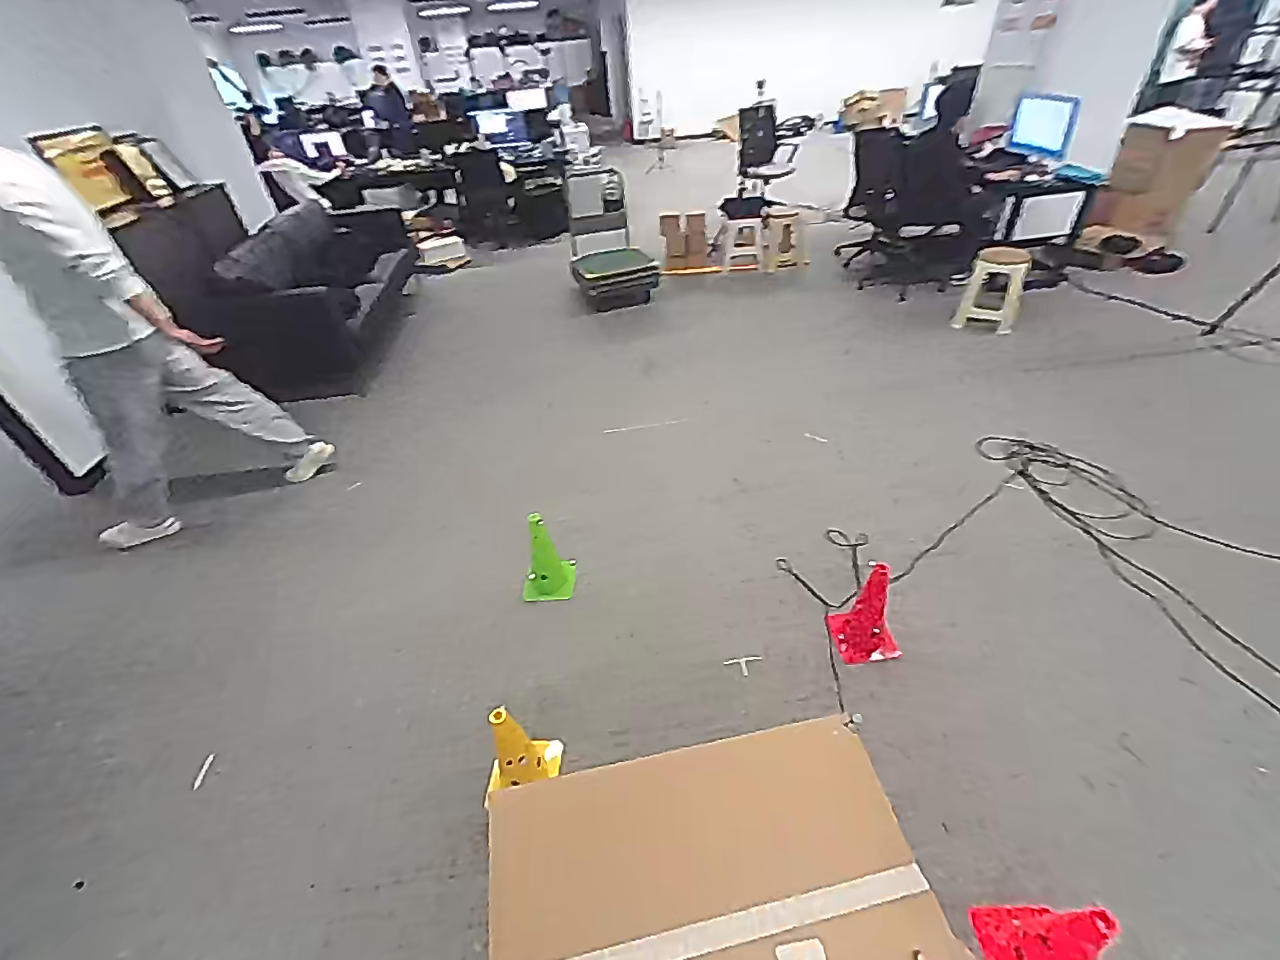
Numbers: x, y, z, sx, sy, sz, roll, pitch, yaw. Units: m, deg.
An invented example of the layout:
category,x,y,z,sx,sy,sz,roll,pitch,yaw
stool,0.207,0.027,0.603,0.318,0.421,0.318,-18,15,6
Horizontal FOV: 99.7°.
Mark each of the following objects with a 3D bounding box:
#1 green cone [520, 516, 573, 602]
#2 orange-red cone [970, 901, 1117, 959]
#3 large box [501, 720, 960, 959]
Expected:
category,x,y,z,sx,sy,sz,roll,pitch,yaw
green cone,-0.390,0.278,2.079,0.200,0.368,0.202,-4,40,2
orange-red cone,0.871,0.944,1.111,0.199,0.360,0.198,-2,40,2
large box,0.080,0.518,0.600,0.408,0.320,0.320,-9,48,-7
